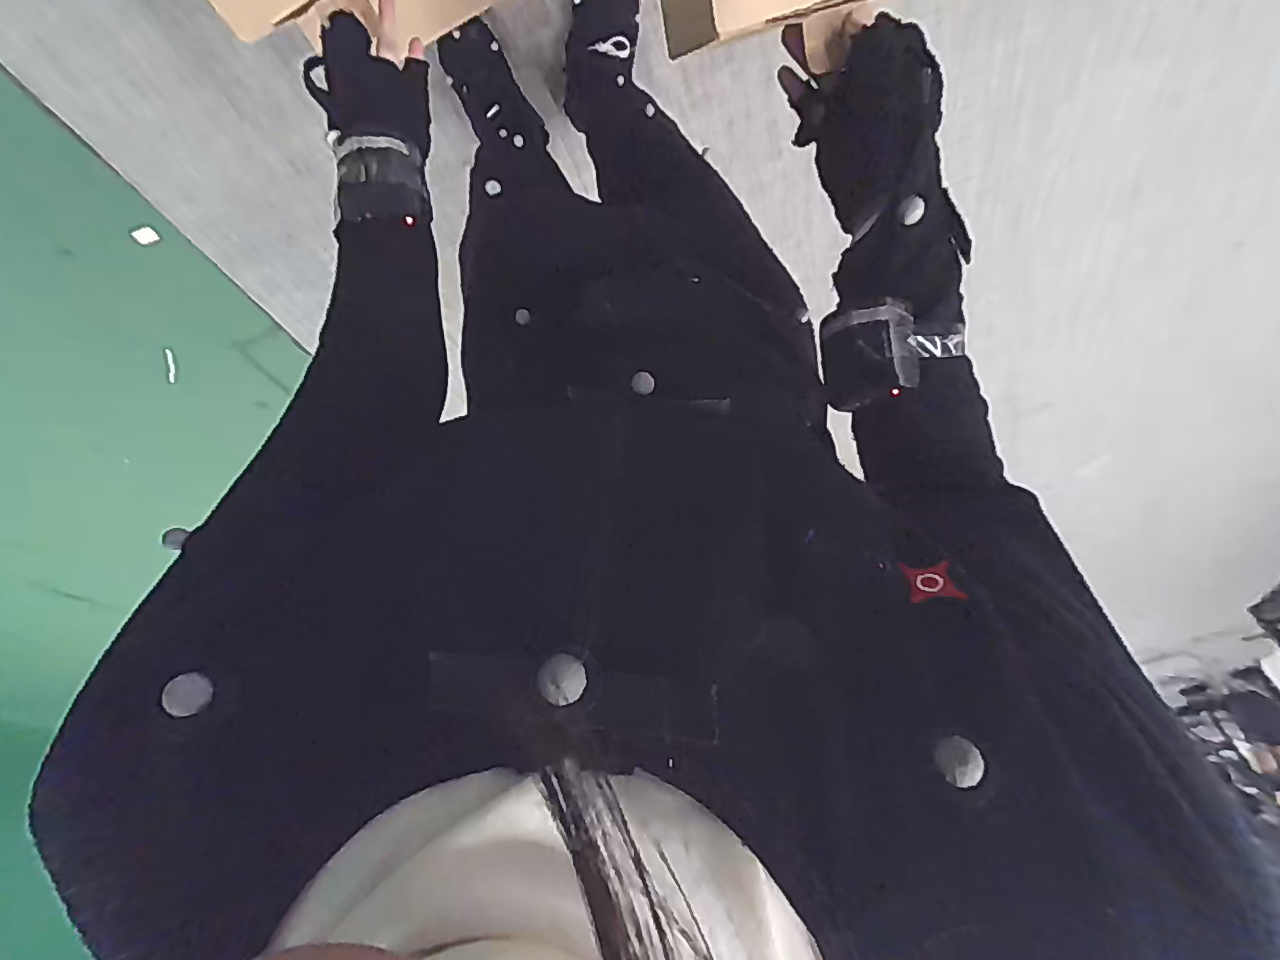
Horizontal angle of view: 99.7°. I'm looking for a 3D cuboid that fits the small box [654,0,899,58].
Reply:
[{"bbox_3d":[0.090,-0.402,0.352,0.168,0.176,0.179,-16,125,2],"label":"small box"}]
